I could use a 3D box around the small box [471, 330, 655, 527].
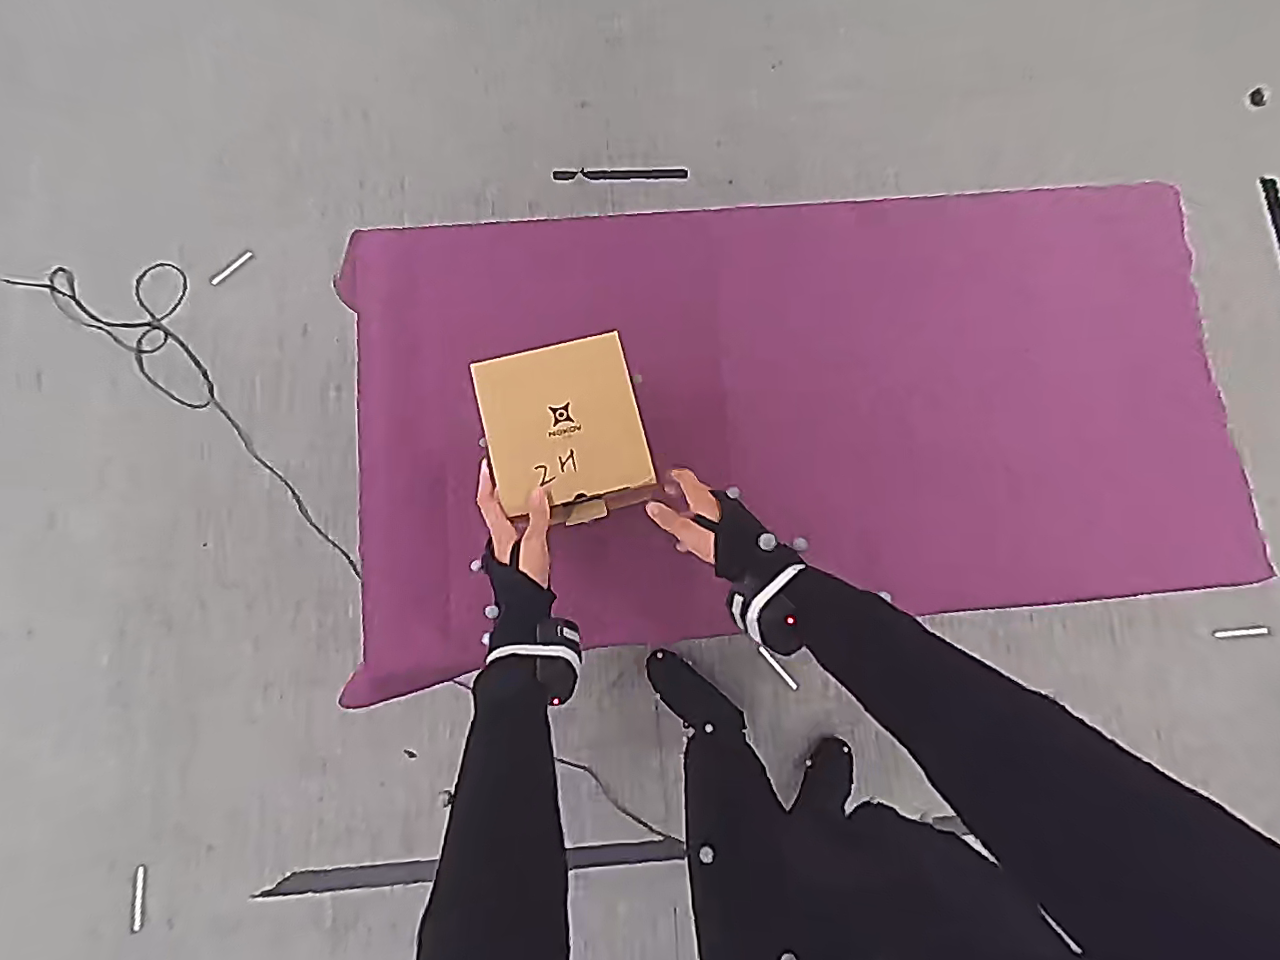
[{"bbox_3d":[-0.085,-0.050,0.647,0.168,0.176,0.179,-14,82,-4],"label":"small box"}]
